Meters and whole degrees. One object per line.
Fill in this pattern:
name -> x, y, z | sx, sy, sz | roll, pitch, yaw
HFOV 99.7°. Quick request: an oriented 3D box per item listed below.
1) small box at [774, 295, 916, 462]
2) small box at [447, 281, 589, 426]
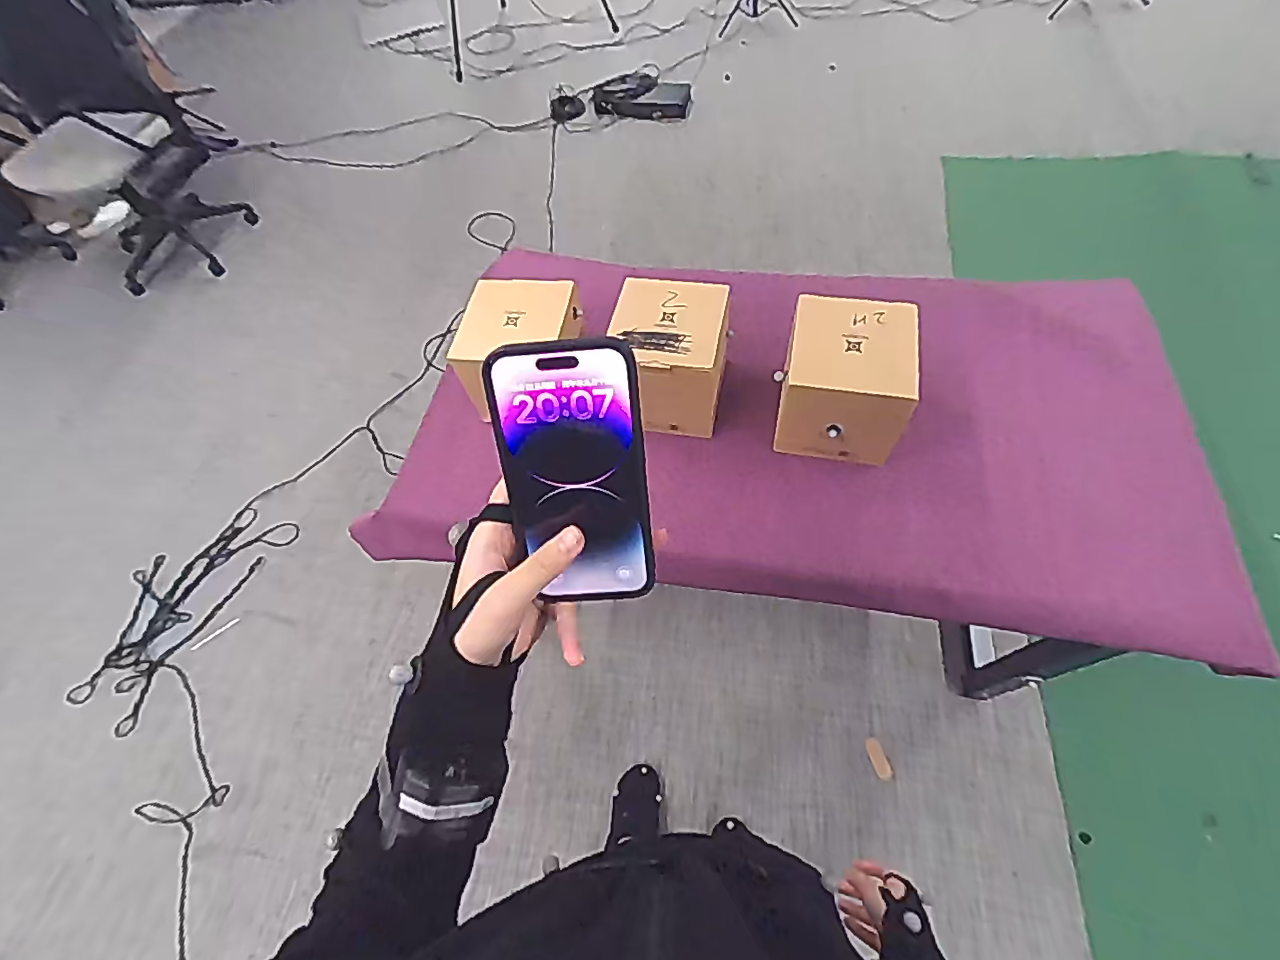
small box -> 0.299, -0.147, 0.811 | 0.168, 0.176, 0.179 | 10, 61, 11
small box -> -0.189, -0.206, 0.901 | 0.168, 0.176, 0.179 | 4, 59, 9
